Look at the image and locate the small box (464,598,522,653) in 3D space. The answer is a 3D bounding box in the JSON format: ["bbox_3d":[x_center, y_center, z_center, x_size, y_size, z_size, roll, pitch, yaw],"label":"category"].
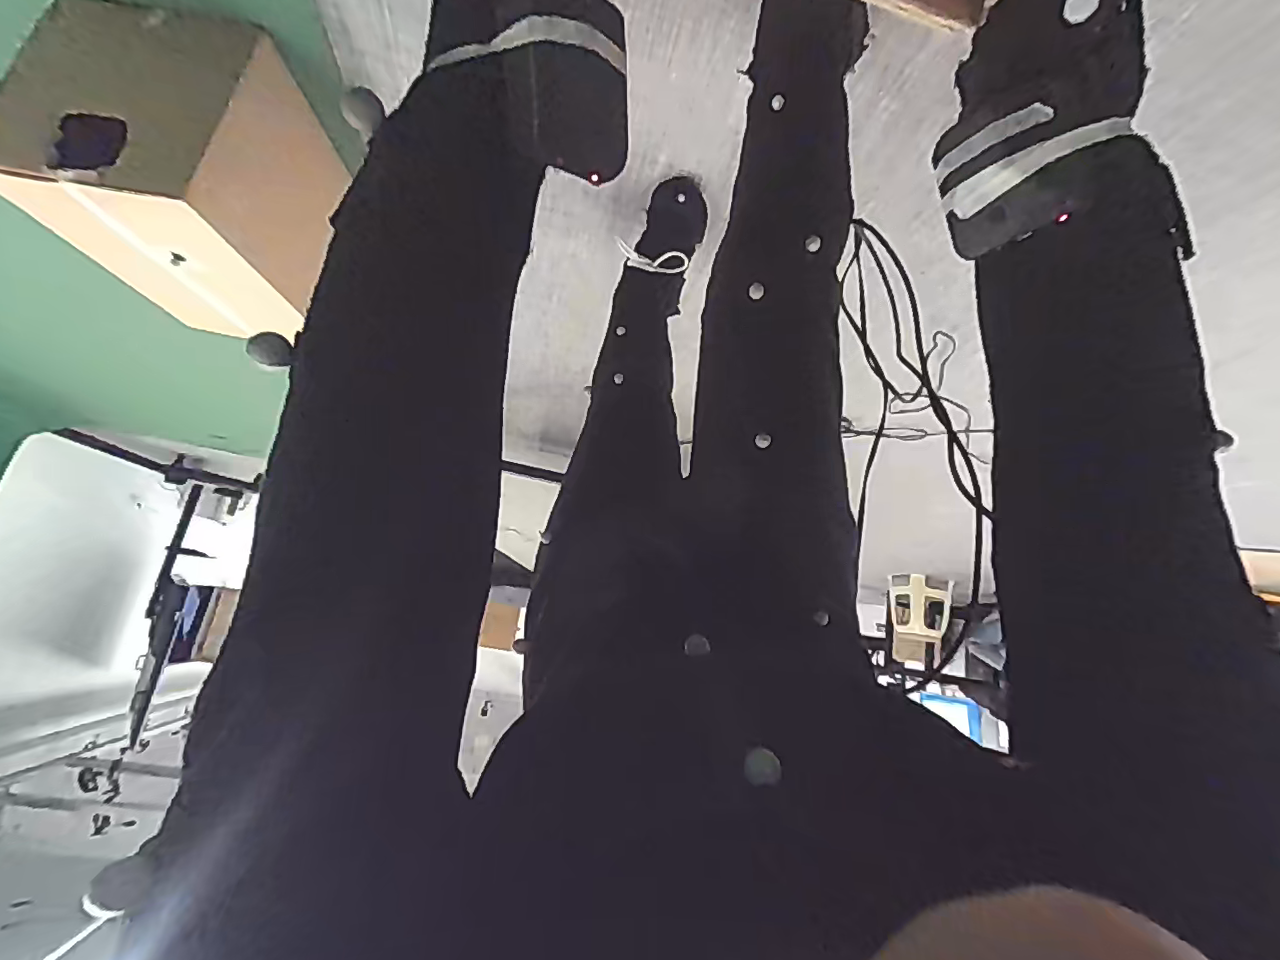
[{"bbox_3d":[-0.545,0.540,2.014,0.179,0.176,0.168,13,165,-12],"label":"small box"}]
